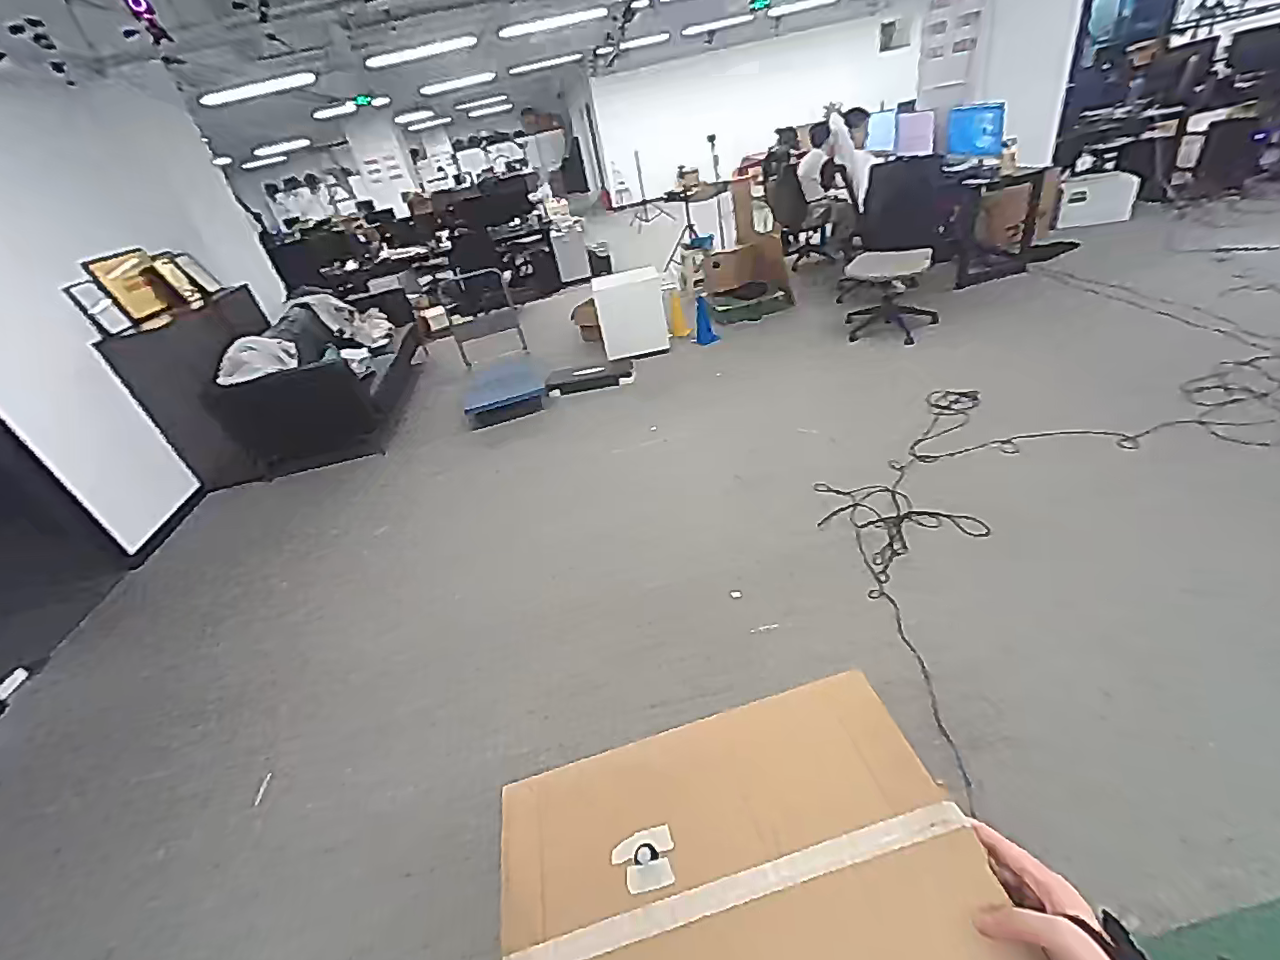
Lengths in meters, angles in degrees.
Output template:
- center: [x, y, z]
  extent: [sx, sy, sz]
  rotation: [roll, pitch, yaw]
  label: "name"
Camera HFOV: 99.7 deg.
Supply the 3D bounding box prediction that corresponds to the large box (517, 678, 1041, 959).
- center: [0.125, 0.476, 0.550]
  extent: [0.408, 0.320, 0.320]
  rotation: [-19, 35, 0]
  label: "large box"
